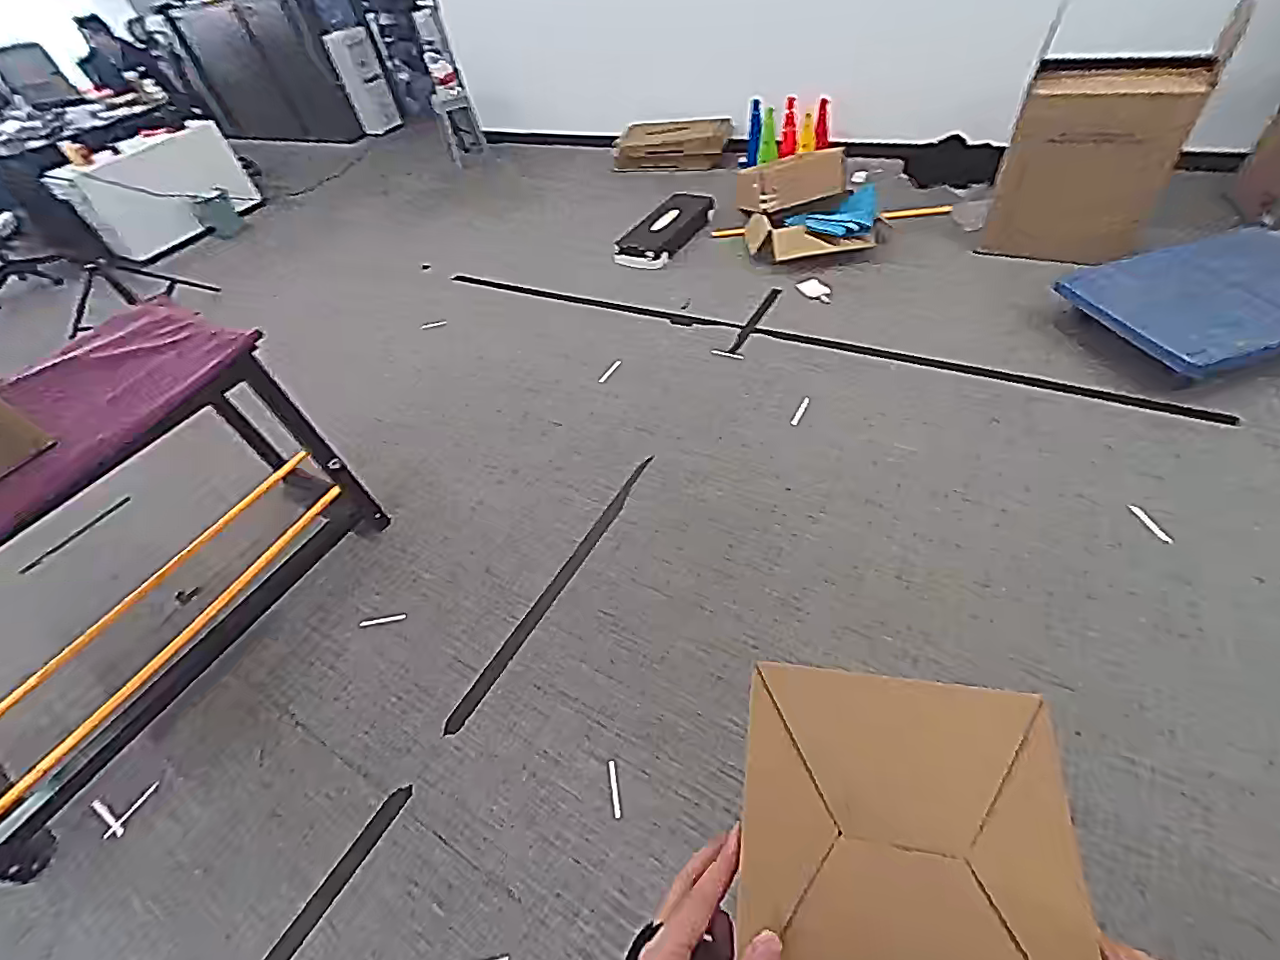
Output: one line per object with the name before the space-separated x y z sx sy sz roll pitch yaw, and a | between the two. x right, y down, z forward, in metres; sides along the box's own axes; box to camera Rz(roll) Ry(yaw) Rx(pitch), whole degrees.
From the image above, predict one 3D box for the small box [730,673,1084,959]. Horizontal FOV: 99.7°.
small box | 0.151 0.244 0.353 0.168 0.176 0.179 2 57 15
